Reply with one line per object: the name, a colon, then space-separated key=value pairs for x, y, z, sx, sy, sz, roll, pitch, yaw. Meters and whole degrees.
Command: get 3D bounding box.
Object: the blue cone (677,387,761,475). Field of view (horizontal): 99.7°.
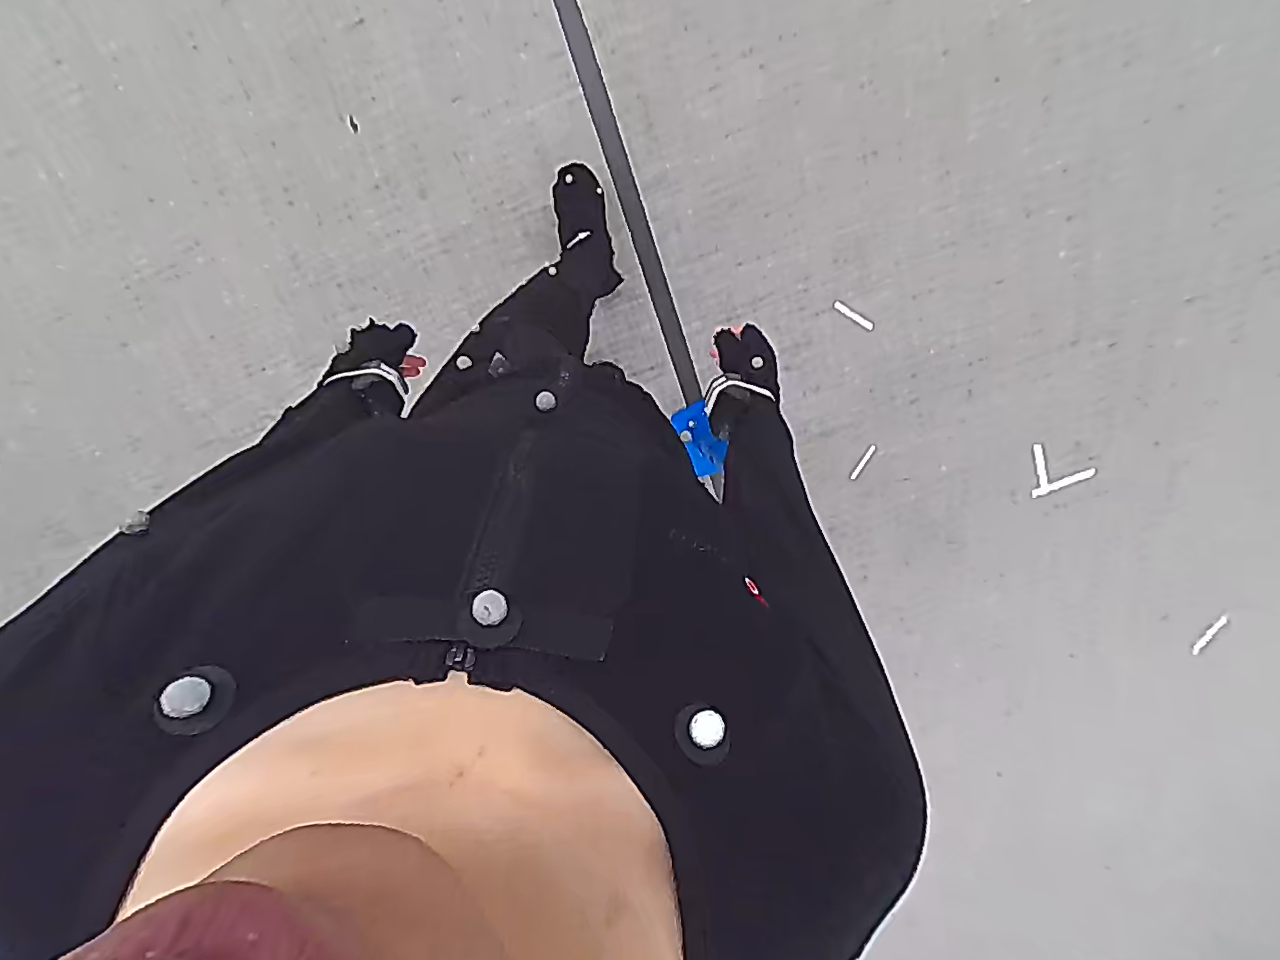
blue cone: x=0.216 y=-0.081 z=1.297 sx=0.192 sy=0.380 sz=0.193 roll=-23 pitch=109 yaw=5
